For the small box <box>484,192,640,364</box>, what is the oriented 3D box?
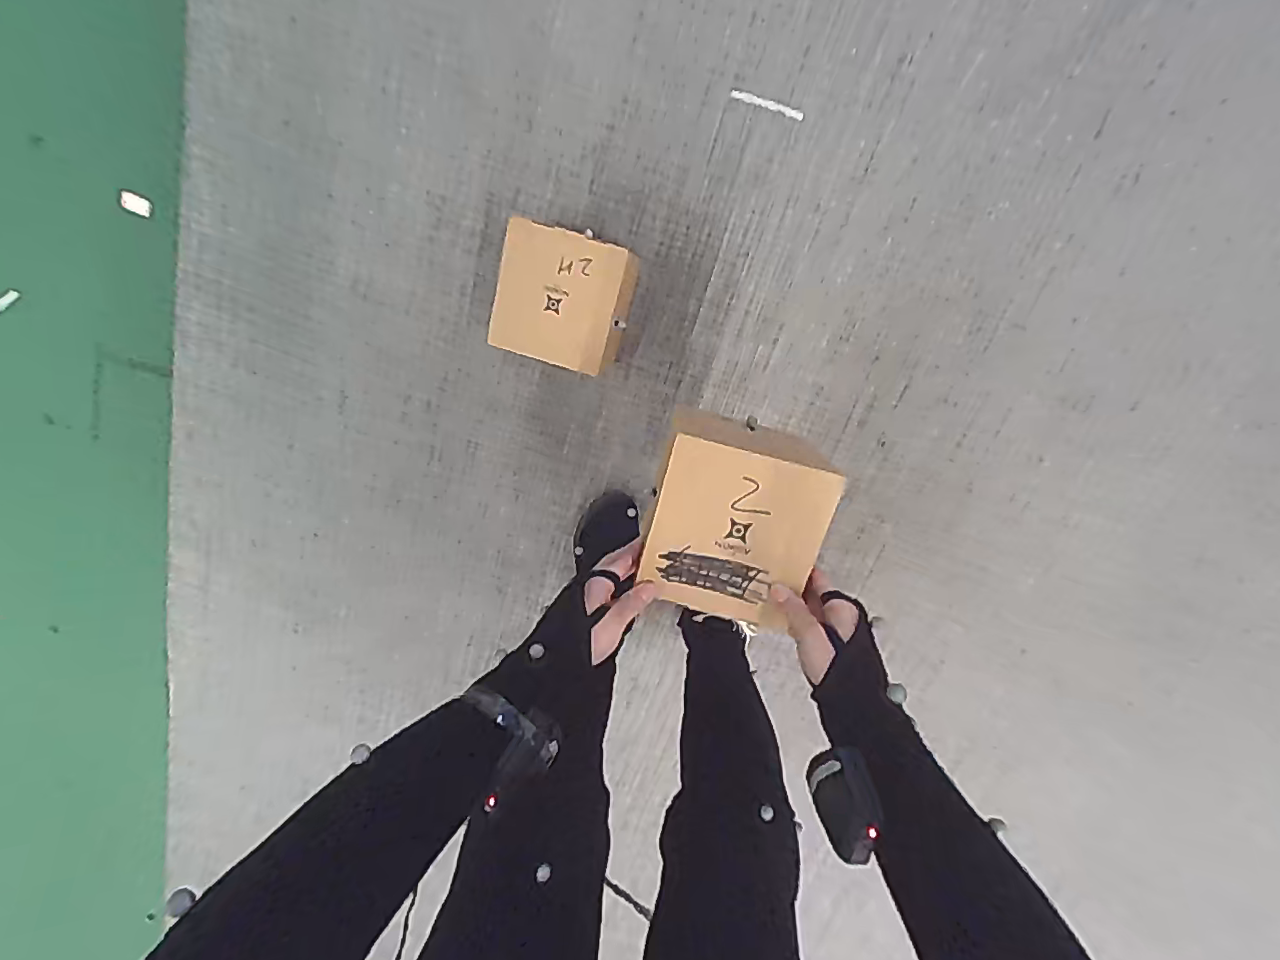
[{"bbox_3d":[-0.104,-0.288,0.786,0.168,0.176,0.179,19,110,-1],"label":"small box"}]
